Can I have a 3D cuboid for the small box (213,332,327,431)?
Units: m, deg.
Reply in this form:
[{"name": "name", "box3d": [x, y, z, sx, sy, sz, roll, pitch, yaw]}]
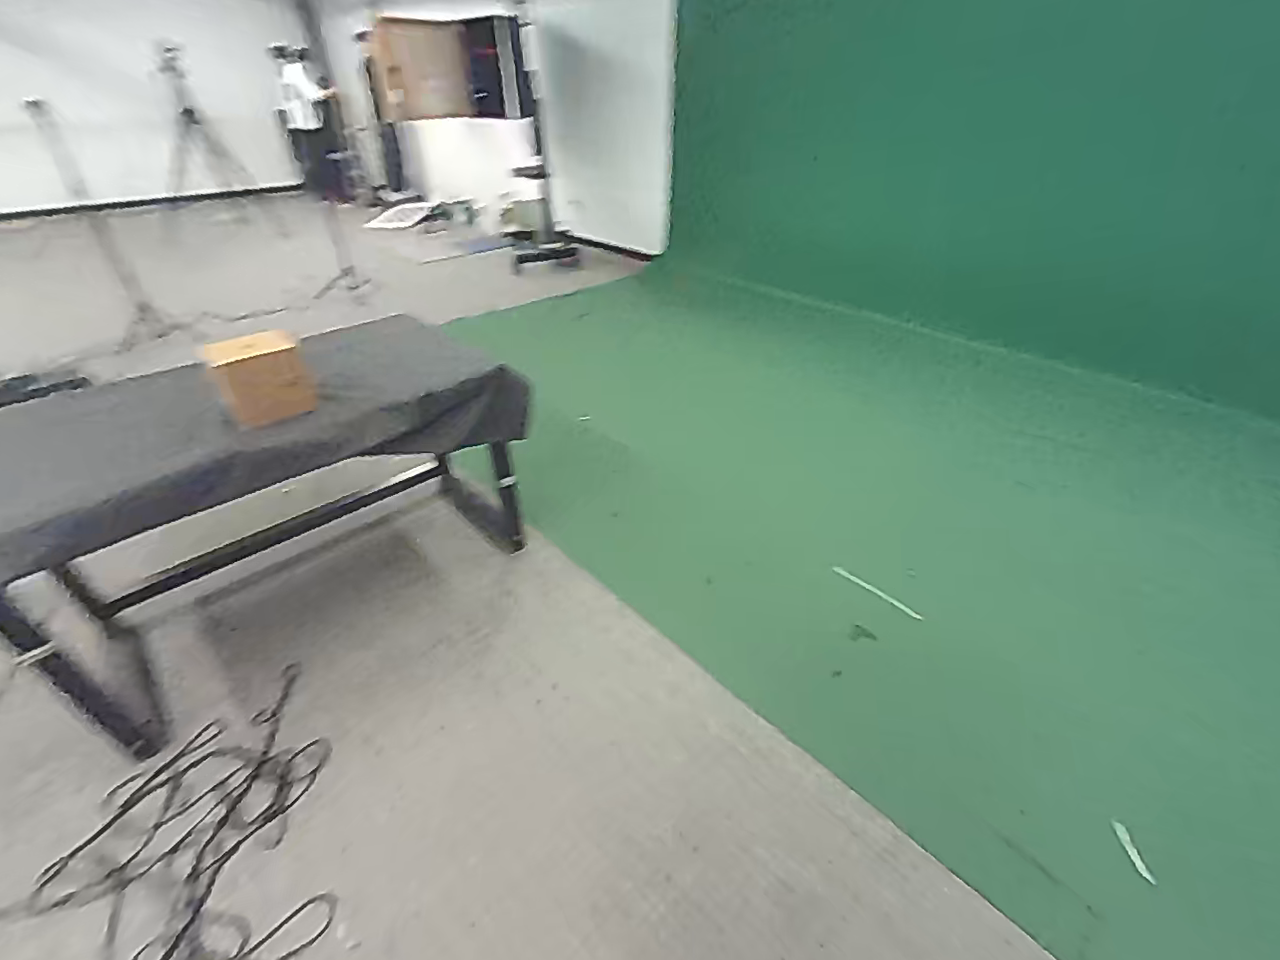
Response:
[{"name": "small box", "box3d": [-0.908, -0.247, 1.342, 0.179, 0.176, 0.168, -30, 44, -33]}]
